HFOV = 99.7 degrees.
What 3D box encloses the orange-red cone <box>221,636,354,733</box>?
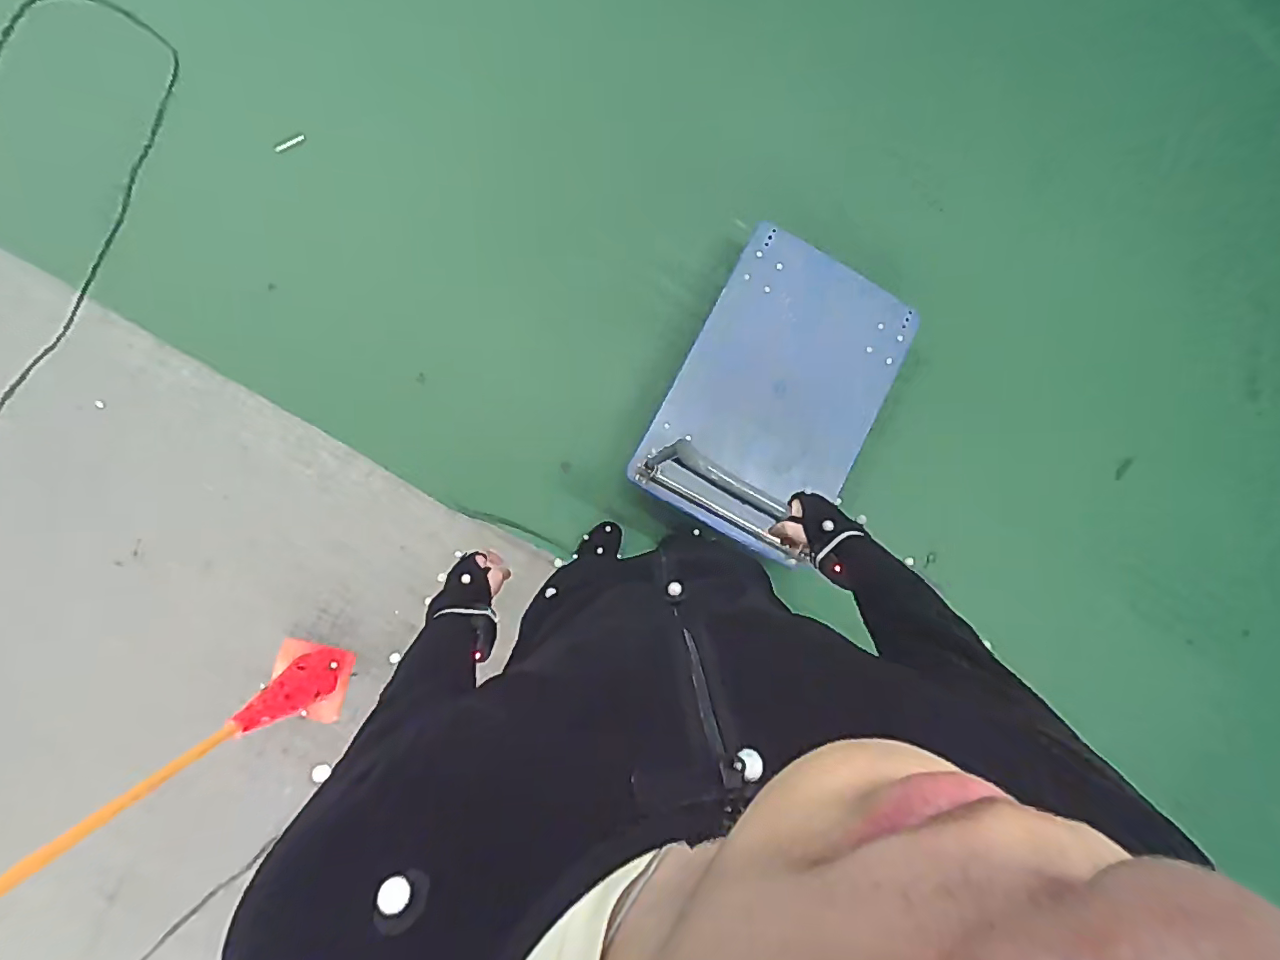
[{"bbox_3d":[-0.898,0.537,1.329,0.199,0.360,0.198,17,84,-5],"label":"orange-red cone"}]
